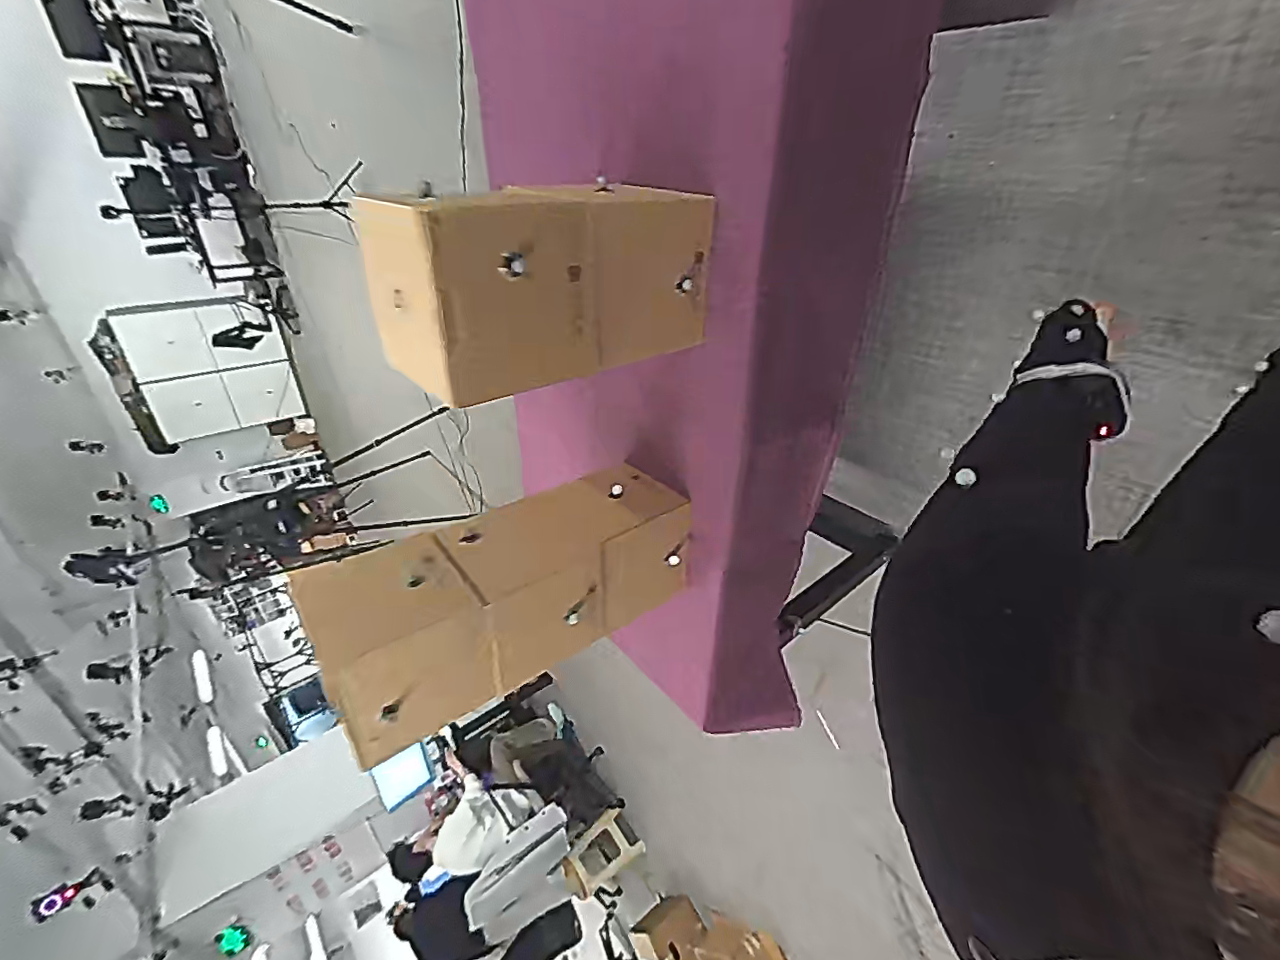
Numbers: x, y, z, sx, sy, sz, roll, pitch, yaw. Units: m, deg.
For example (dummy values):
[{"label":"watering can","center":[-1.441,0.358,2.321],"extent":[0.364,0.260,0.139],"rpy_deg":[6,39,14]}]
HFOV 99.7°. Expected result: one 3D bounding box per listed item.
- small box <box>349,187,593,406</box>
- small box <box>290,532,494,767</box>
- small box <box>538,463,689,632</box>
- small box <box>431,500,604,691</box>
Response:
[{"label":"small box","center":[-0.159,-0.196,0.547],"extent":[0.179,0.176,0.168],"rpy_deg":[32,133,39]},{"label":"small box","center":[-0.292,0.196,0.661],"extent":[0.168,0.176,0.179],"rpy_deg":[33,133,39]},{"label":"small box","center":[-0.039,0.094,0.847],"extent":[0.168,0.176,0.179],"rpy_deg":[30,131,41]},{"label":"small box","center":[-0.167,0.146,0.757],"extent":[0.179,0.176,0.168],"rpy_deg":[31,133,39]}]
